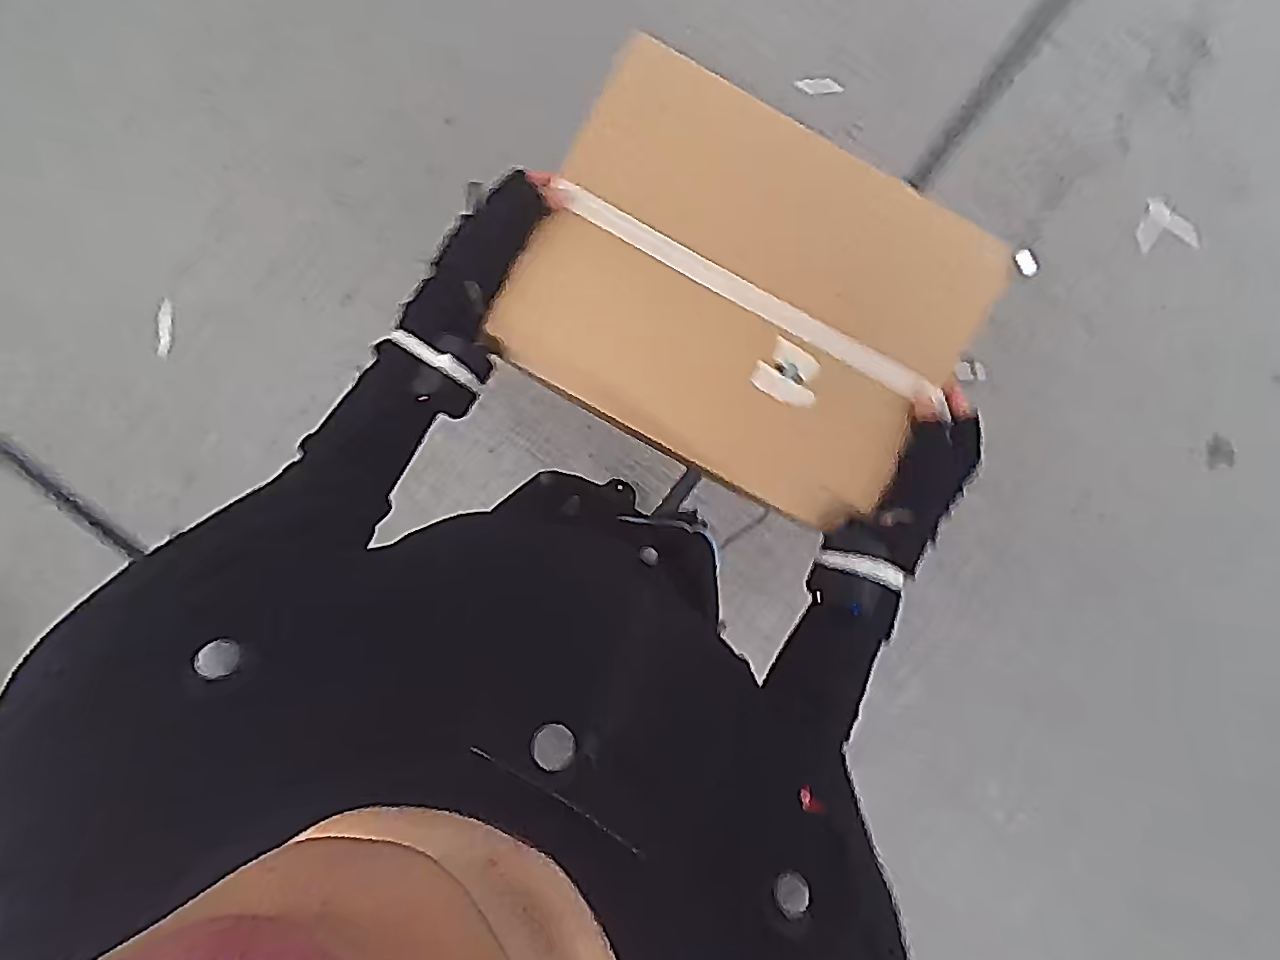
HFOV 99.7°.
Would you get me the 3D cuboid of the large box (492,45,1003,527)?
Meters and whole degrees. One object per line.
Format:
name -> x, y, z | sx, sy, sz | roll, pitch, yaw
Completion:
large box -> 0.097, -0.186, 0.658 | 0.408, 0.320, 0.320 | 28, 93, -4
